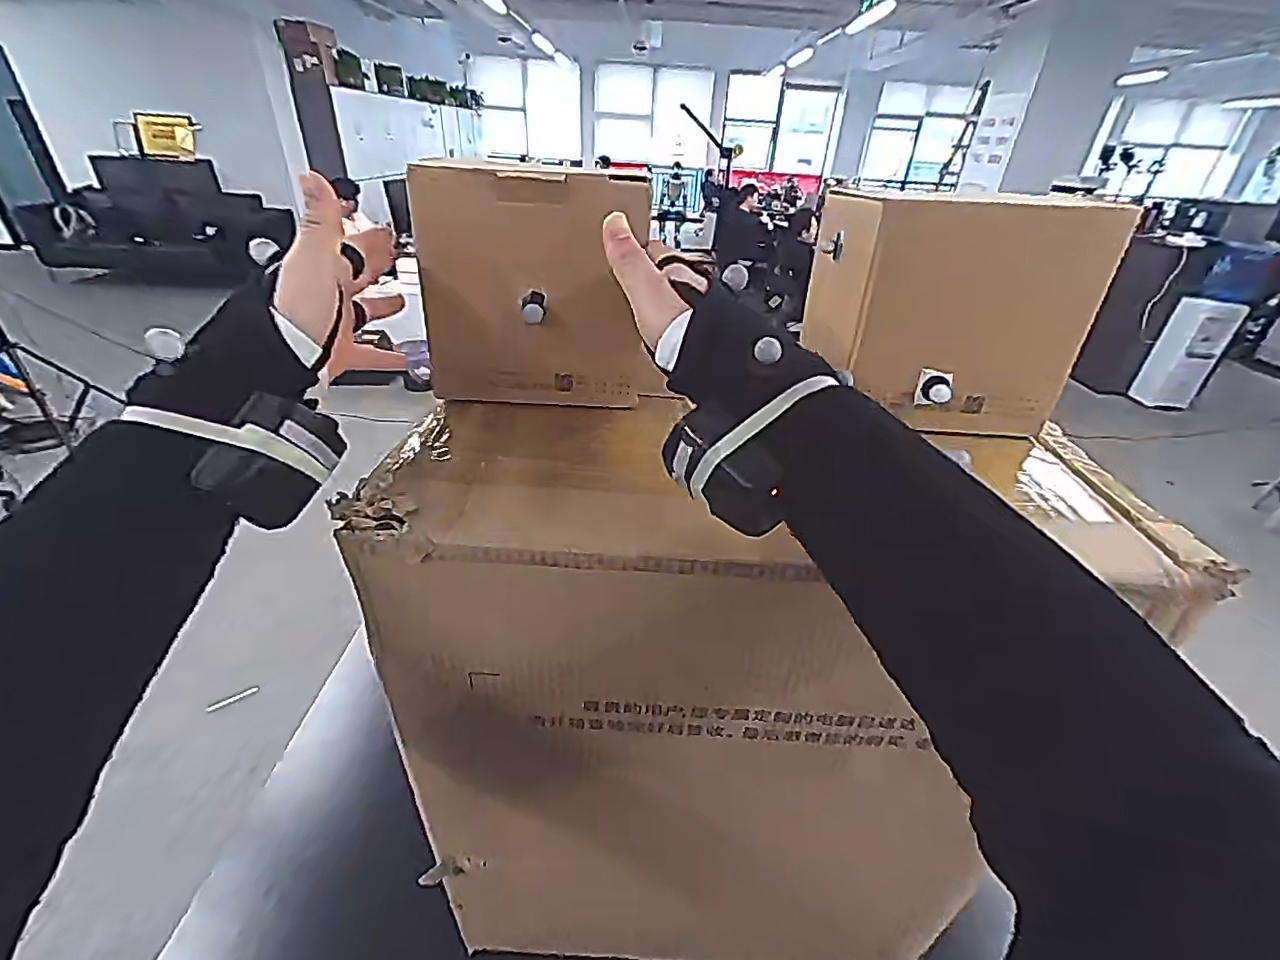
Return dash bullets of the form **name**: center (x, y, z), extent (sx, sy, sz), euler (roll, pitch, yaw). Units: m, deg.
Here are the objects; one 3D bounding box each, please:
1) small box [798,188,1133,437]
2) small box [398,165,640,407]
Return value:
- **small box**: center (0.242, -0.151, 0.465), extent (0.168, 0.176, 0.179), euler (2, 31, 3)
- **small box**: center (-0.086, -0.171, 0.471), extent (0.168, 0.176, 0.179), euler (1, 31, -4)
